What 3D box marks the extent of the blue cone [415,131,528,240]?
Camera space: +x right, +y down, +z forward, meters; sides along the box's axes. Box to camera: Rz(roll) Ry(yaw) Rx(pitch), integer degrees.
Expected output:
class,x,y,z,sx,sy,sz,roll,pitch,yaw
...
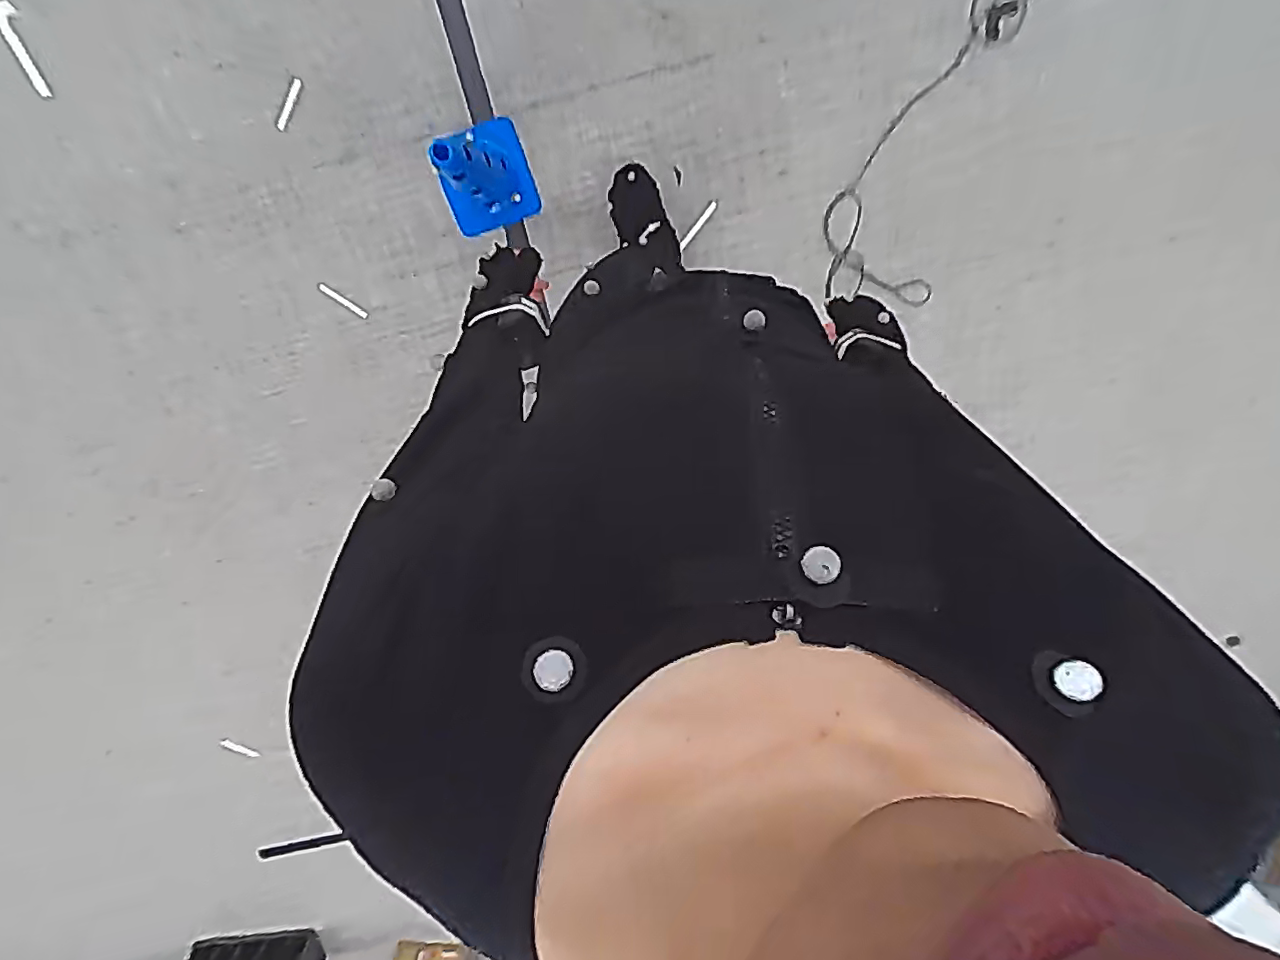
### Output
class,x,y,z,sx,sy,sz,roll,pitch,yaw
blue cone,-0.353,-0.597,1.061,0.192,0.380,0.193,-16,112,4
